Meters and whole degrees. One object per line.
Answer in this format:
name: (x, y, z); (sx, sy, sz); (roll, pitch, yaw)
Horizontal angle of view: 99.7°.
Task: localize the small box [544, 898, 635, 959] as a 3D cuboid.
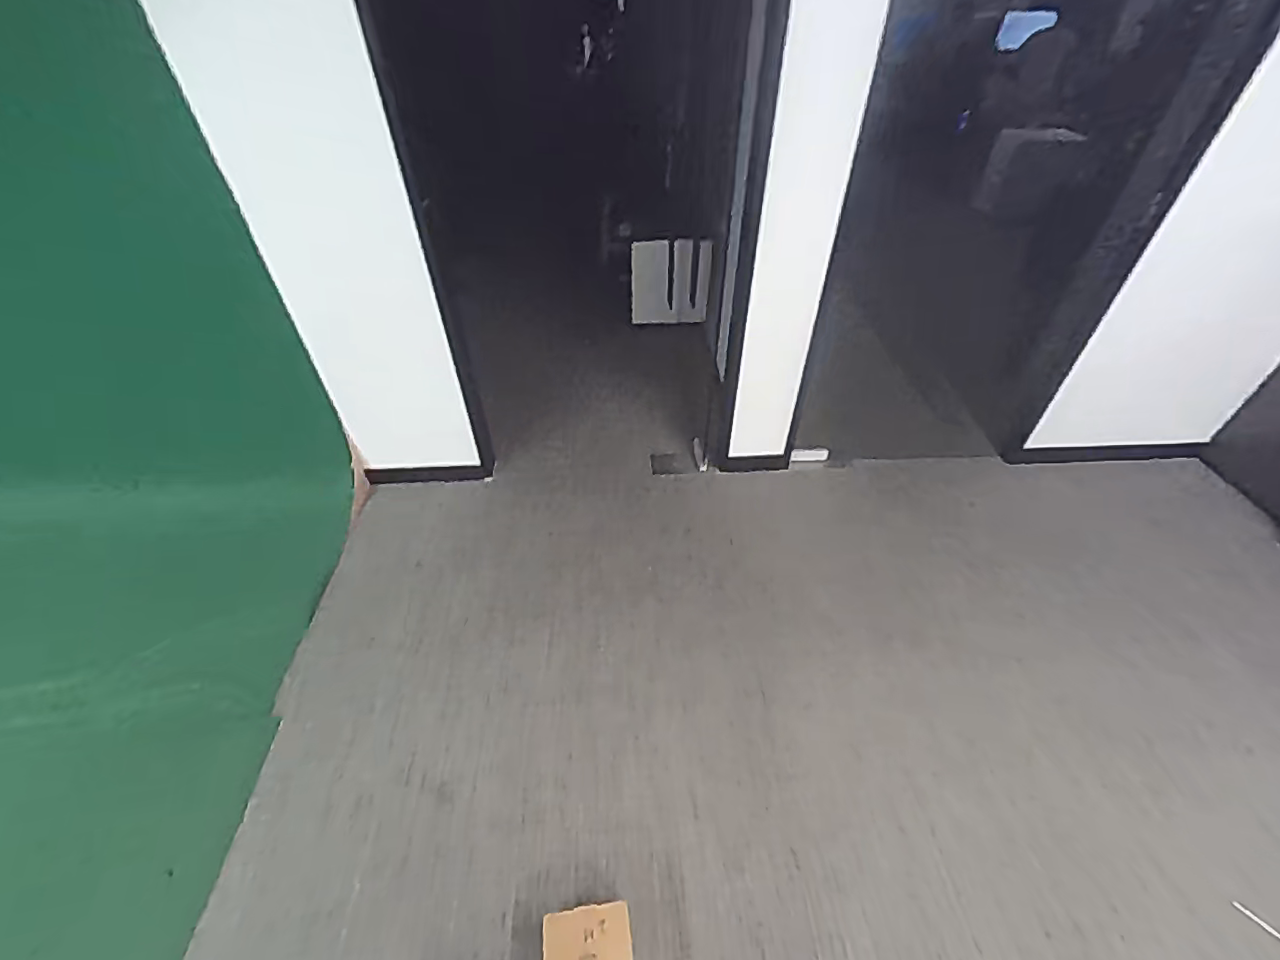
small box: (-0.093, 0.943, 1.047); (0.168, 0.176, 0.179); (-5, 44, -6)
